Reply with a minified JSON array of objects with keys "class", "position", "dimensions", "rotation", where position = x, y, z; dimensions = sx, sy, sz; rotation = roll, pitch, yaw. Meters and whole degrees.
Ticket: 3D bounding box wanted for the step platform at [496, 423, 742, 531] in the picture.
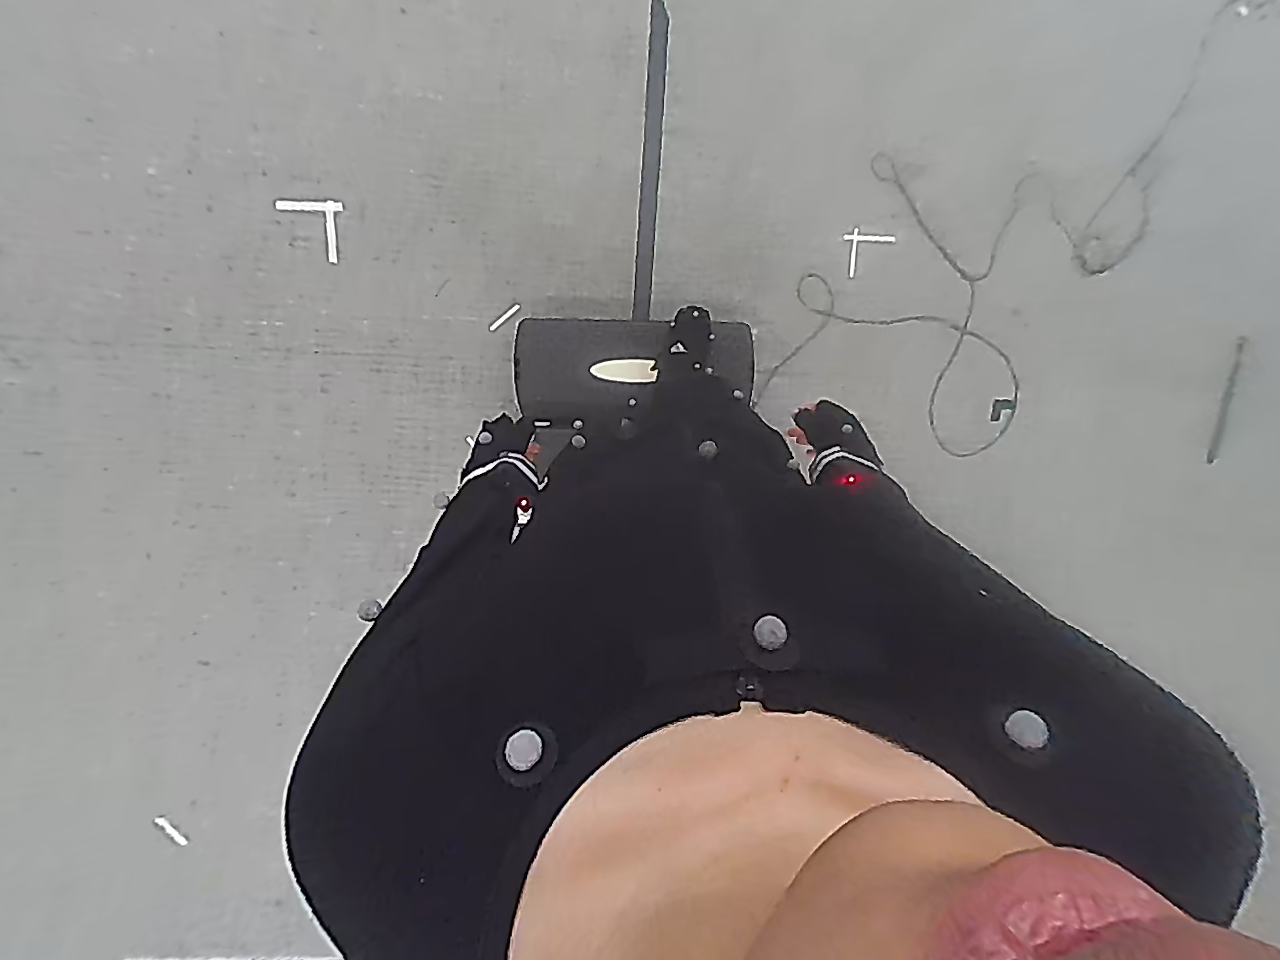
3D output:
[{"class":"step platform","position":[-0.056,-0.011,1.533],"dimensions":[0.684,0.204,0.286],"rotation":[1,99,-2]}]
